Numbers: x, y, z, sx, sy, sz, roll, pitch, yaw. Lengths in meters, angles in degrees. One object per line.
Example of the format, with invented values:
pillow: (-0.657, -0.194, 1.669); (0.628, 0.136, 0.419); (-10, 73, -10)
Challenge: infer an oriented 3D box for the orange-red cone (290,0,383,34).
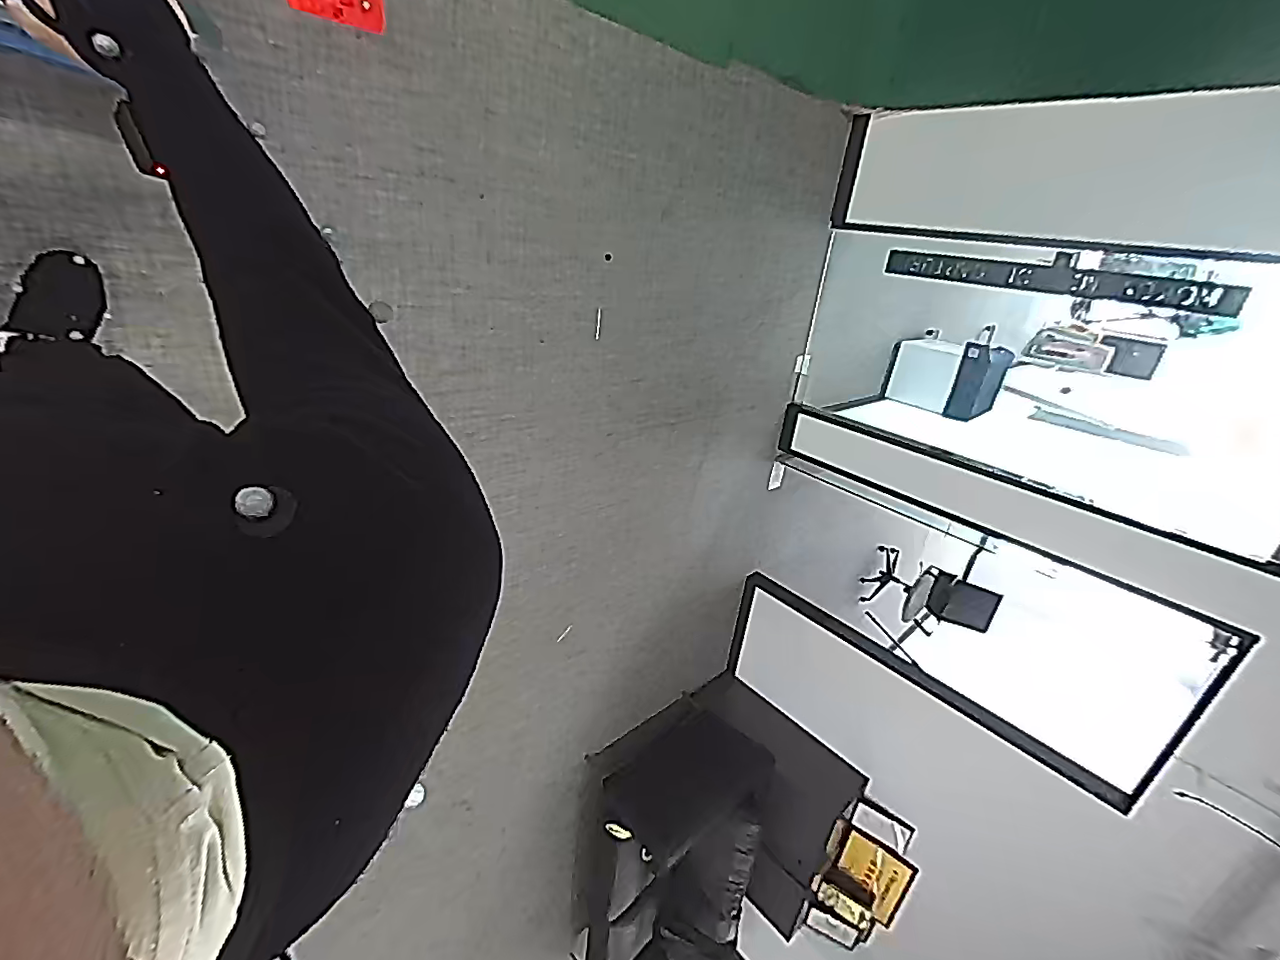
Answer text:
orange-red cone: (-0.525, -1.016, 1.015); (0.198, 0.360, 0.199); (-16, 121, -41)
